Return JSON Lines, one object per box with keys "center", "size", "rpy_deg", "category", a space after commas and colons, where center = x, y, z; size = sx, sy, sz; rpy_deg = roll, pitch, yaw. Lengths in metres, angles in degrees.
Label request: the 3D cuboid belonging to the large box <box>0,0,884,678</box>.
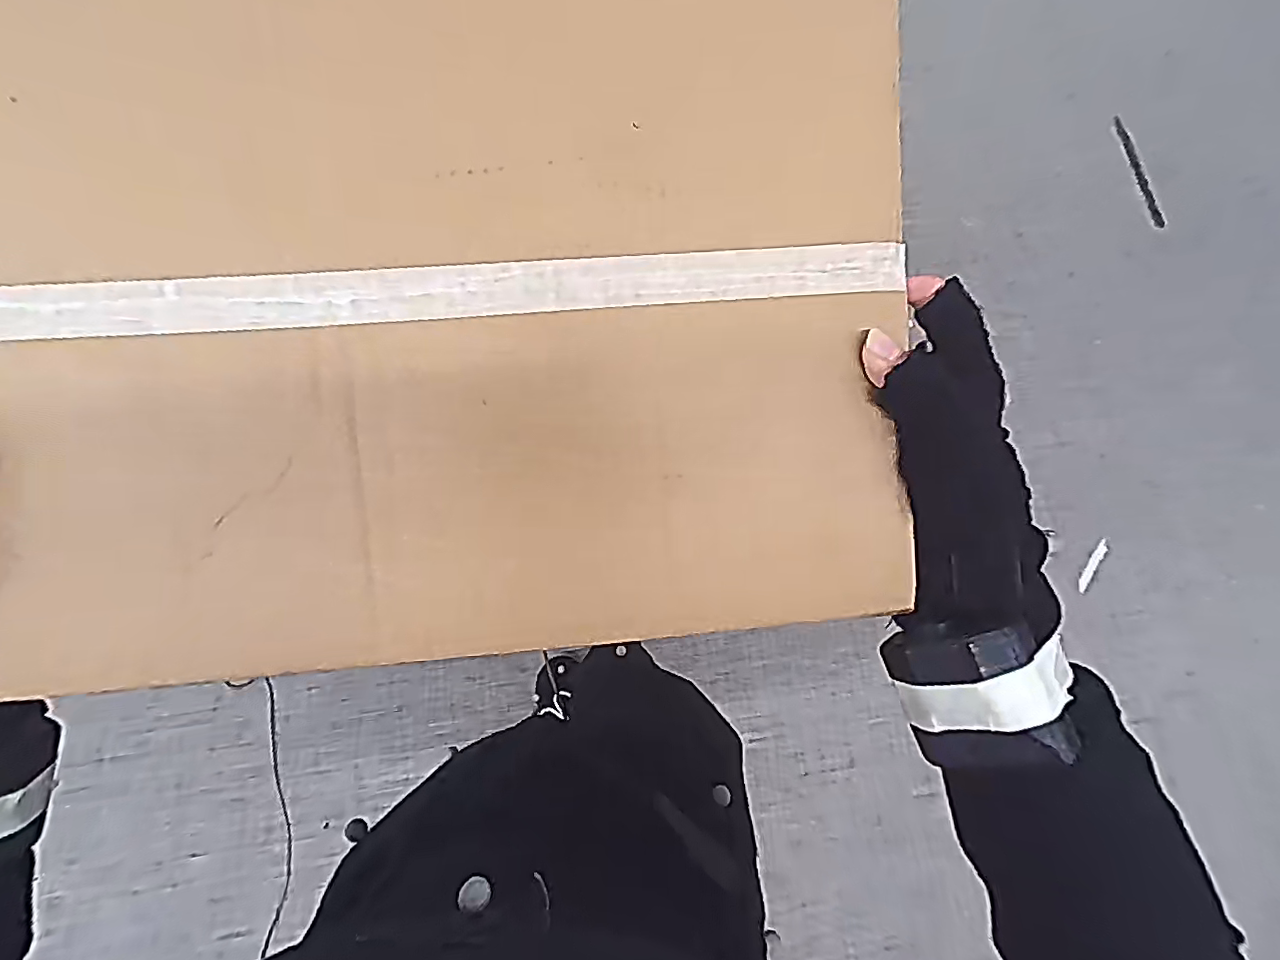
{"center": [-0.096, -0.093, 0.386], "size": [0.408, 0.320, 0.320], "rpy_deg": [-4, 94, -5], "category": "large box"}
